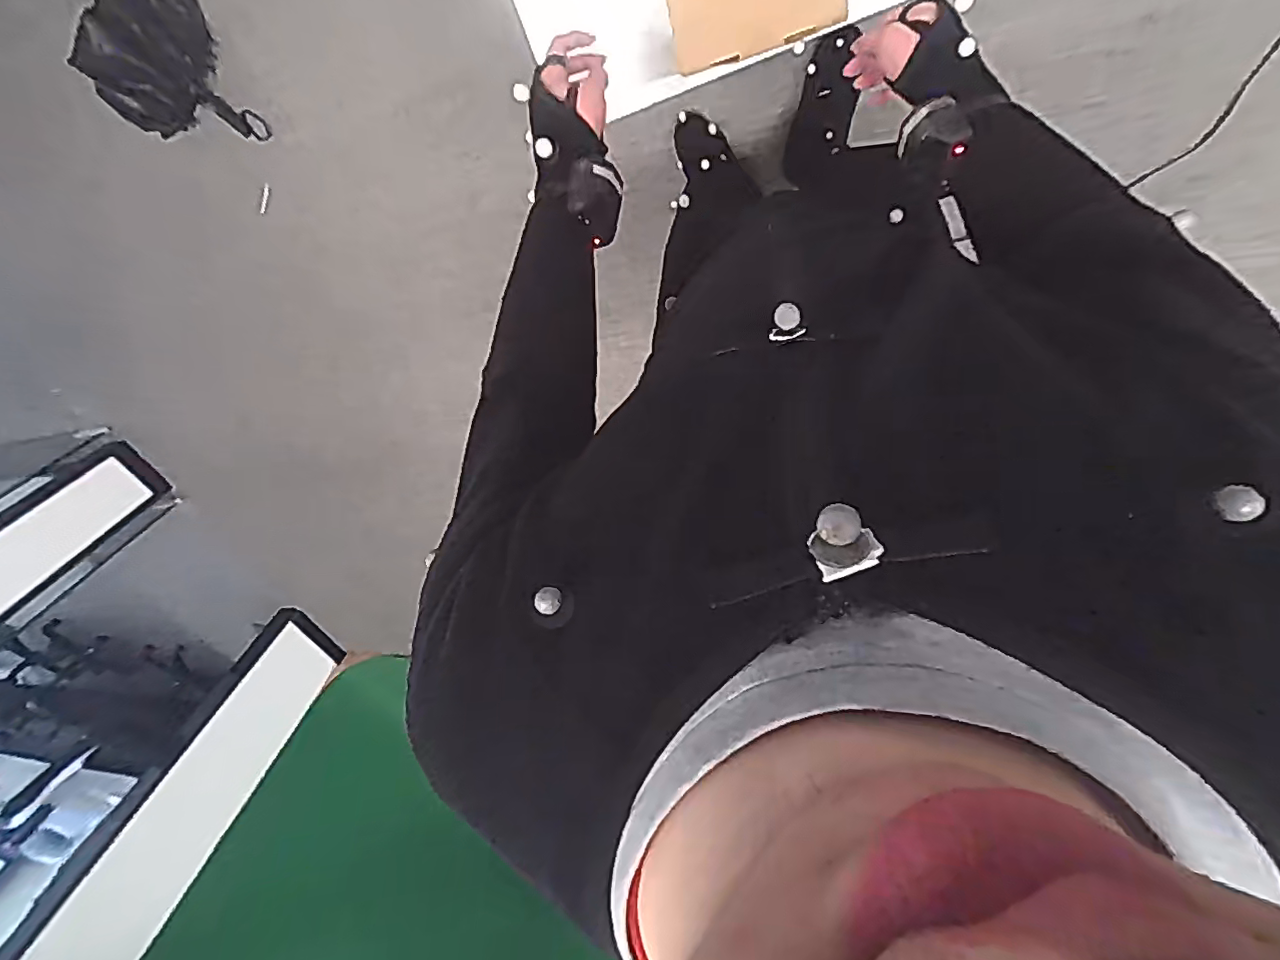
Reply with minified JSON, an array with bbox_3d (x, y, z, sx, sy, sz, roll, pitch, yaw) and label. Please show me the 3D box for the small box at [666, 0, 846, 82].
[{"bbox_3d":[0.113,-0.539,0.549,0.168,0.176,0.179,-6,126,19],"label":"small box"}]
